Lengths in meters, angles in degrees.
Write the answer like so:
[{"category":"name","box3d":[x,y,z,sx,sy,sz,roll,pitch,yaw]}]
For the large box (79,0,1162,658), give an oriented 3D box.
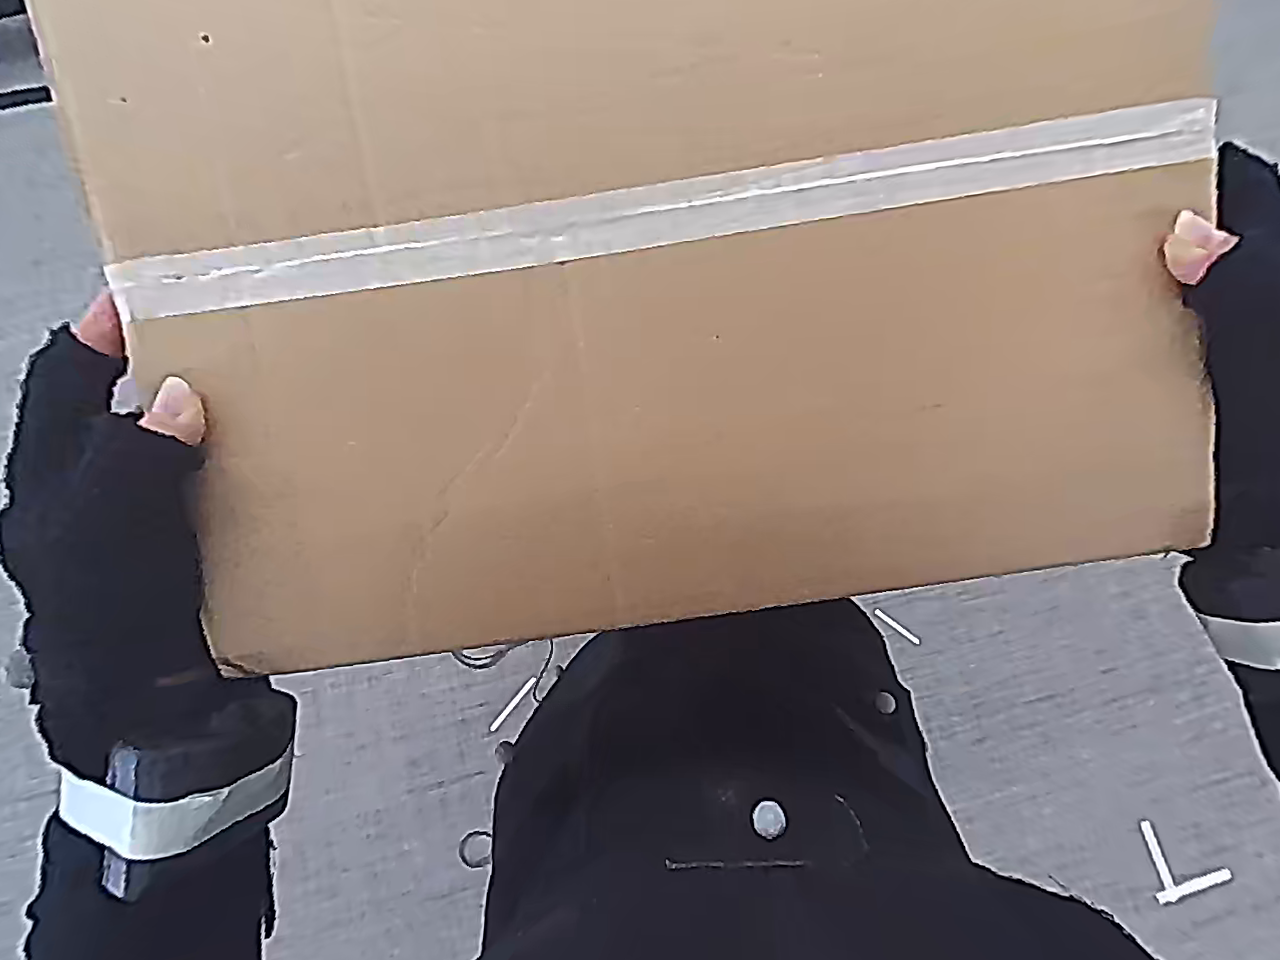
[{"category":"large box","box3d":[0.005,-0.122,0.361,0.408,0.320,0.320,-8,98,0]}]
